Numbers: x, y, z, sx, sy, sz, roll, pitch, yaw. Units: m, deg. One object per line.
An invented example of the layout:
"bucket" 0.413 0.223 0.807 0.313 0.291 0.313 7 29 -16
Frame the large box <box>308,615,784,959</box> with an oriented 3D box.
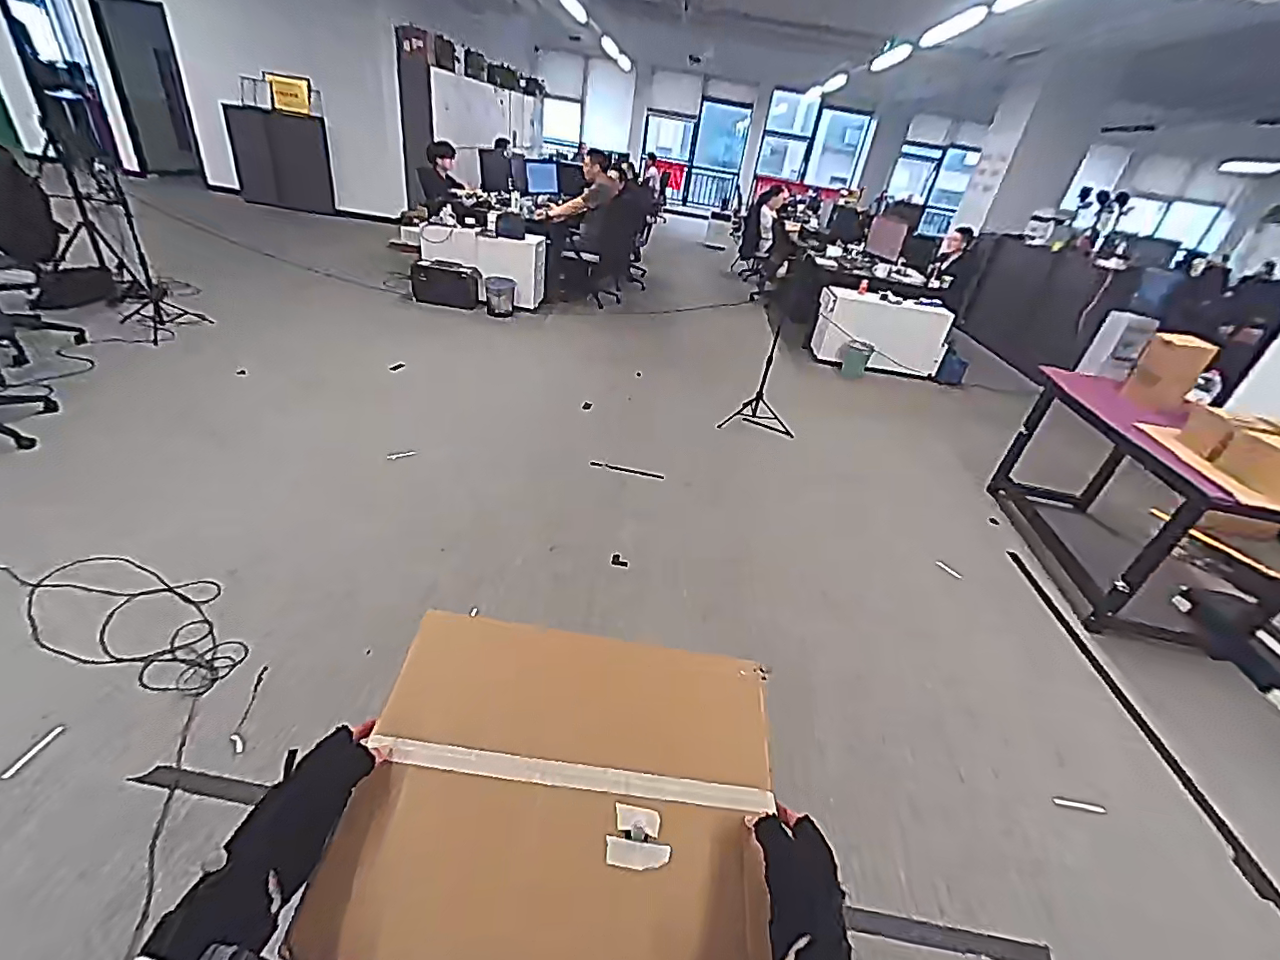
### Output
"large box" -0.088 0.402 0.649 0.408 0.320 0.320 10 43 -3
